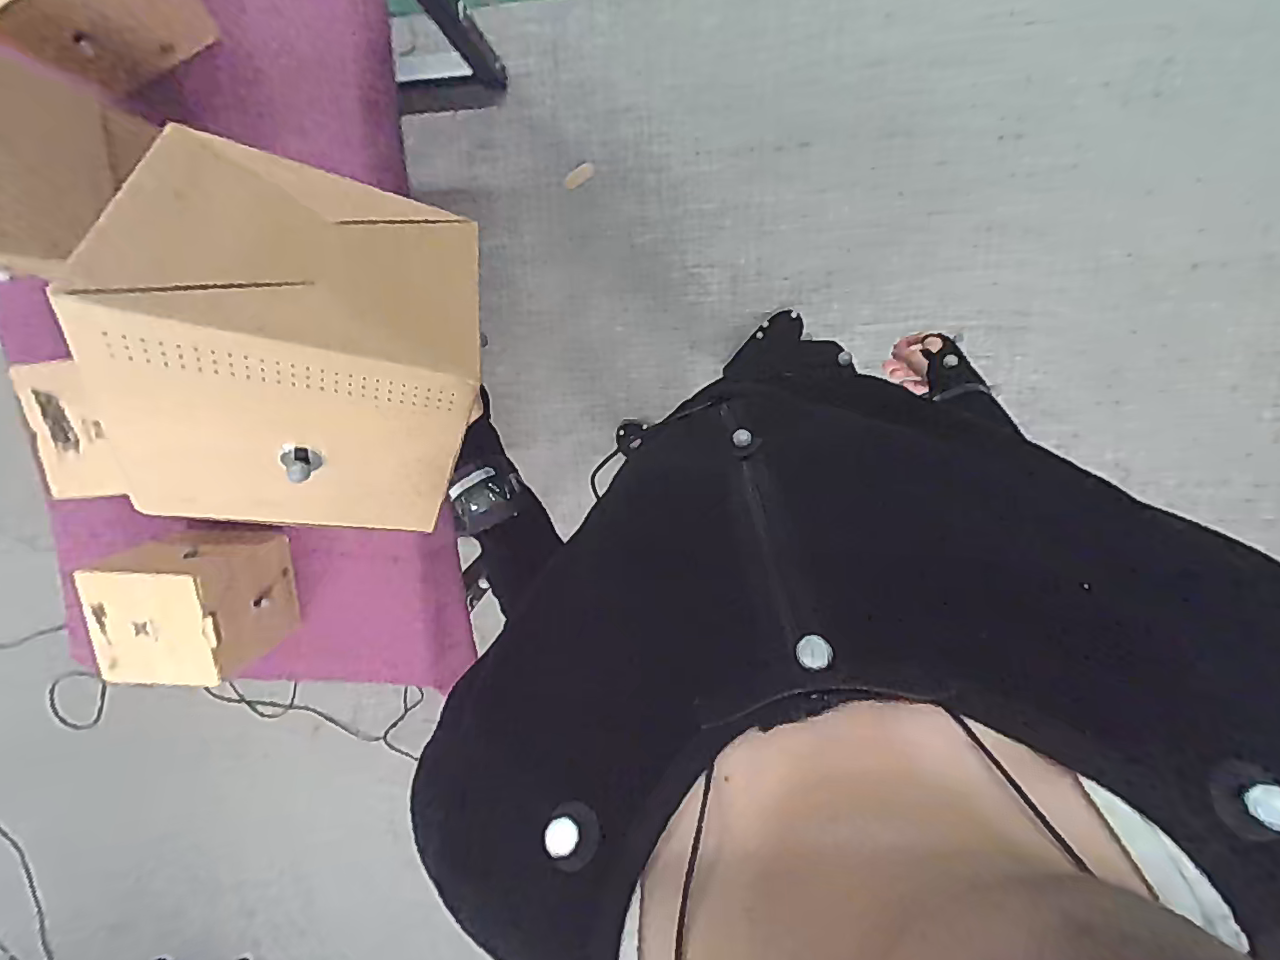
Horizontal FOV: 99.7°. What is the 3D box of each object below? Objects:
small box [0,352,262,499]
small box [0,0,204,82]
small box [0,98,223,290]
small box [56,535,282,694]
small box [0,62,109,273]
[{"bbox_3d":[-0.655,-0.078,0.714,0.179,0.176,0.168,-4,103,4],"label":"small box"},{"bbox_3d":[-0.643,-0.582,0.592,0.168,0.176,0.179,-20,101,9],"label":"small box"},{"bbox_3d":[-0.650,-0.330,0.654,0.168,0.176,0.179,3,104,3],"label":"small box"},{"bbox_3d":[-0.651,0.183,0.777,0.179,0.176,0.168,1,104,3],"label":"small box"},{"bbox_3d":[-0.653,-0.296,0.493,0.168,0.176,0.179,4,104,3],"label":"small box"}]
